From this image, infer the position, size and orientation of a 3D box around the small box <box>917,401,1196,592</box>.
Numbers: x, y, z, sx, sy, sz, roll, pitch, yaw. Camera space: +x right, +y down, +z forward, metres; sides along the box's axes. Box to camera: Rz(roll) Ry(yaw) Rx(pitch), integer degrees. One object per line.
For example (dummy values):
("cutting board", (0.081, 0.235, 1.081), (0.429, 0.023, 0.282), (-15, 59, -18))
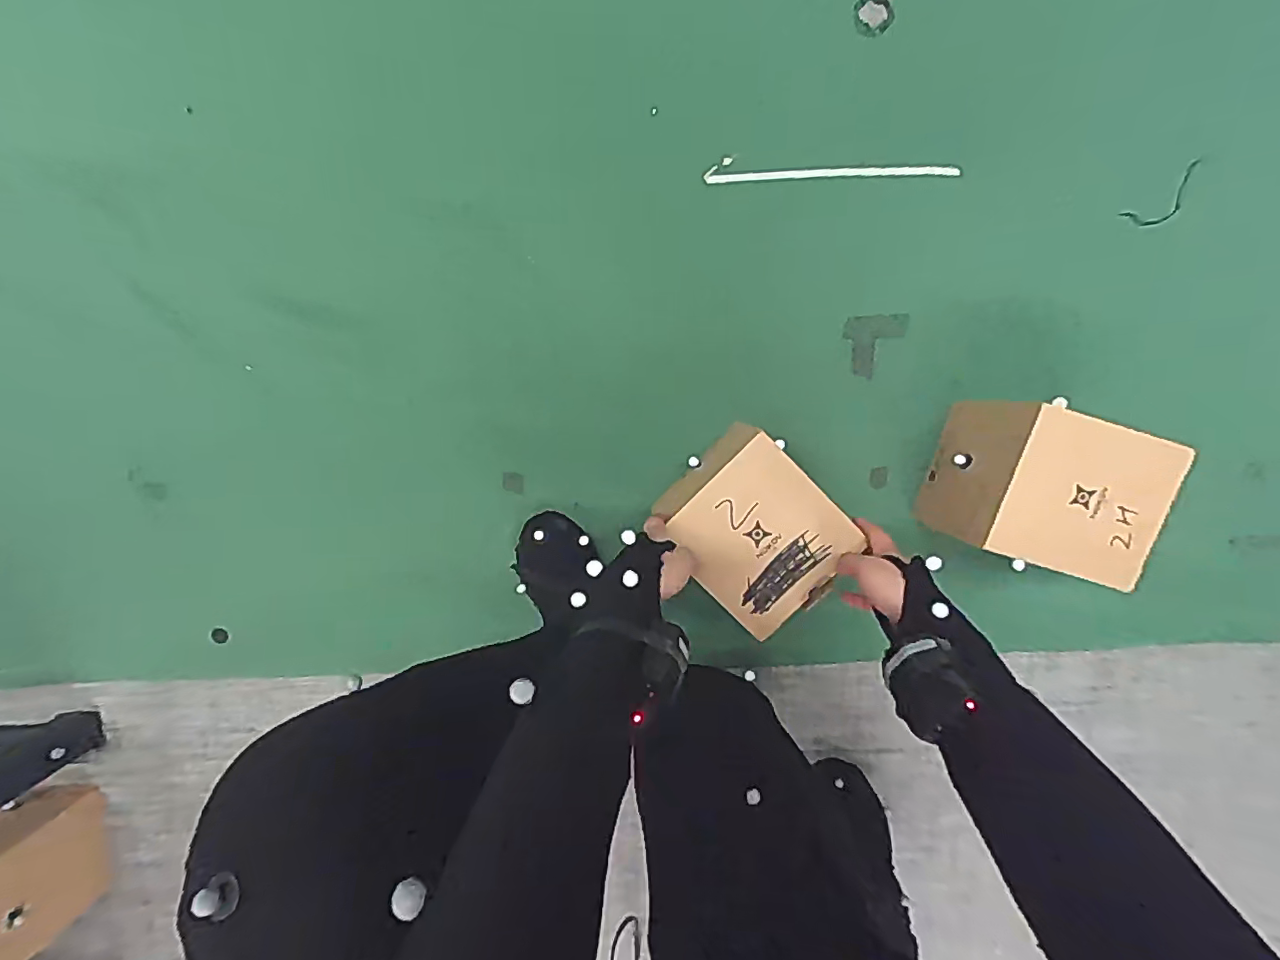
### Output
("small box", (0.473, 0.009, 0.649), (0.179, 0.176, 0.168), (17, 99, -3))

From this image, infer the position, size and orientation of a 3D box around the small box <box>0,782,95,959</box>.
("small box", (-0.904, 0.551, 0.736), (0.168, 0.176, 0.179), (3, 98, -1))
